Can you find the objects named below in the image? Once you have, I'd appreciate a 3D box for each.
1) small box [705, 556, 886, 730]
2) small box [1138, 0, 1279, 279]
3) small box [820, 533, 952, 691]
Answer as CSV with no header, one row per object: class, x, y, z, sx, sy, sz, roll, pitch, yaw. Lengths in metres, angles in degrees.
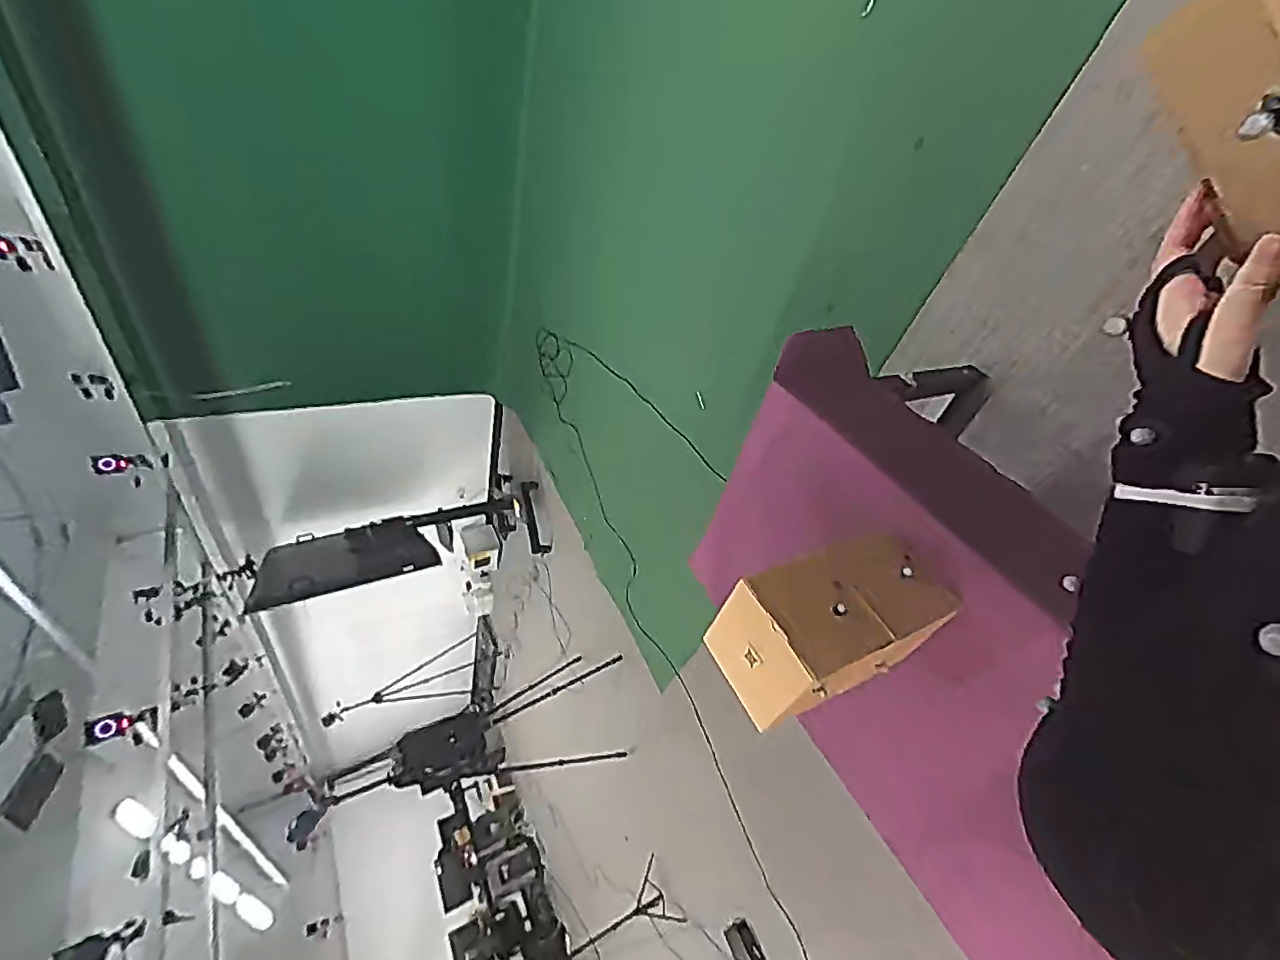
small box,0.232,0.243,0.824,0.168,0.176,0.179,56,143,34
small box,0.395,-0.213,0.255,0.179,0.176,0.168,-26,100,35
small box,0.372,0.216,0.904,0.168,0.176,0.179,55,143,33
